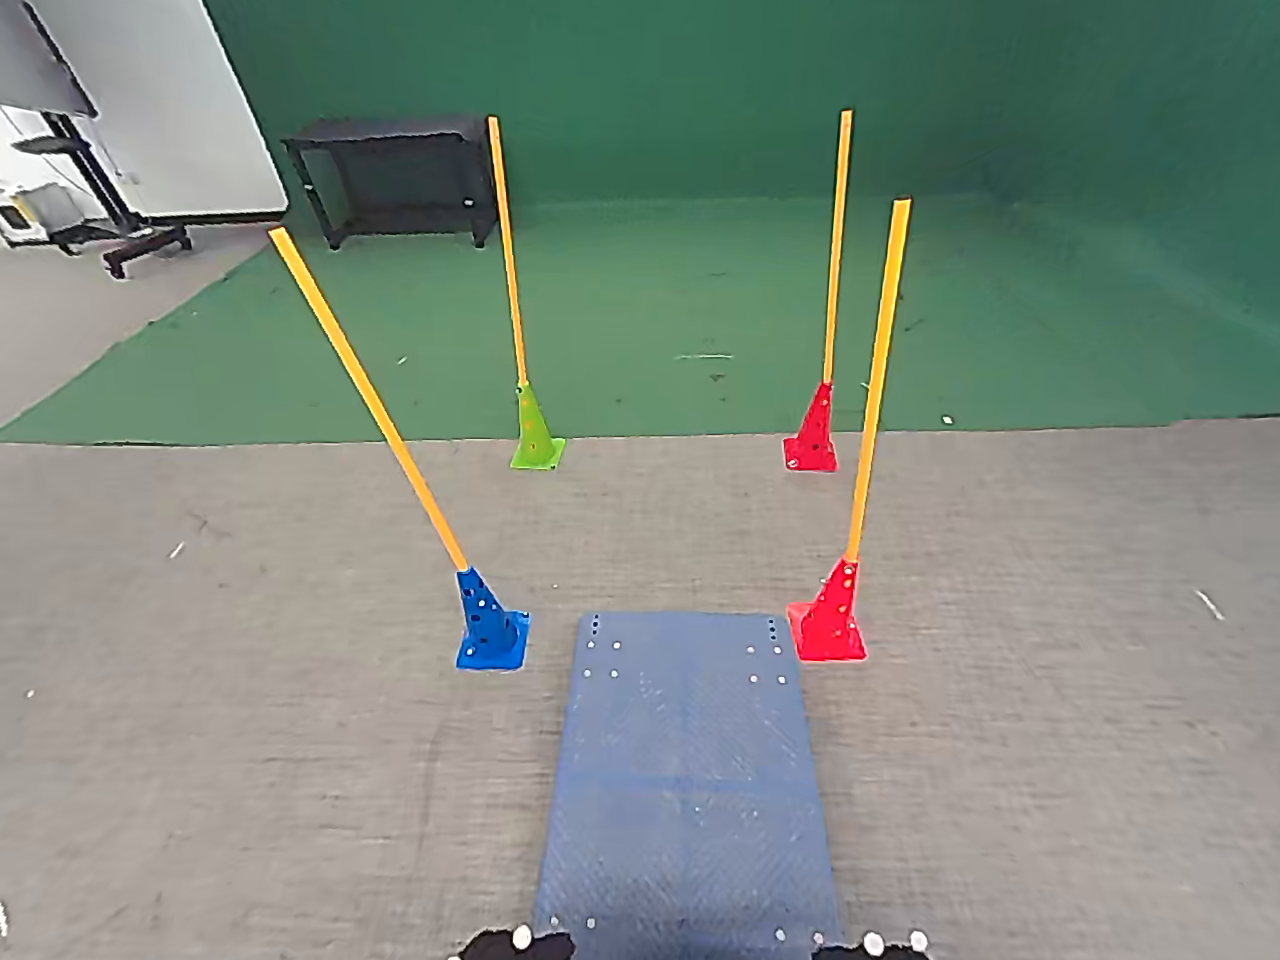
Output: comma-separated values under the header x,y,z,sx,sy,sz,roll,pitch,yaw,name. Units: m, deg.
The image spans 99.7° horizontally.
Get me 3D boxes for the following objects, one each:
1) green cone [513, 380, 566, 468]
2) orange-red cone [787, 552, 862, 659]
x,y,z,sx,sy,sz,roll,pitch,yaw,name
-0.438,-0.244,2.195,0.202,0.368,0.200,2,43,6,green cone
0.550,0.332,1.537,0.199,0.360,0.198,-2,43,3,orange-red cone
